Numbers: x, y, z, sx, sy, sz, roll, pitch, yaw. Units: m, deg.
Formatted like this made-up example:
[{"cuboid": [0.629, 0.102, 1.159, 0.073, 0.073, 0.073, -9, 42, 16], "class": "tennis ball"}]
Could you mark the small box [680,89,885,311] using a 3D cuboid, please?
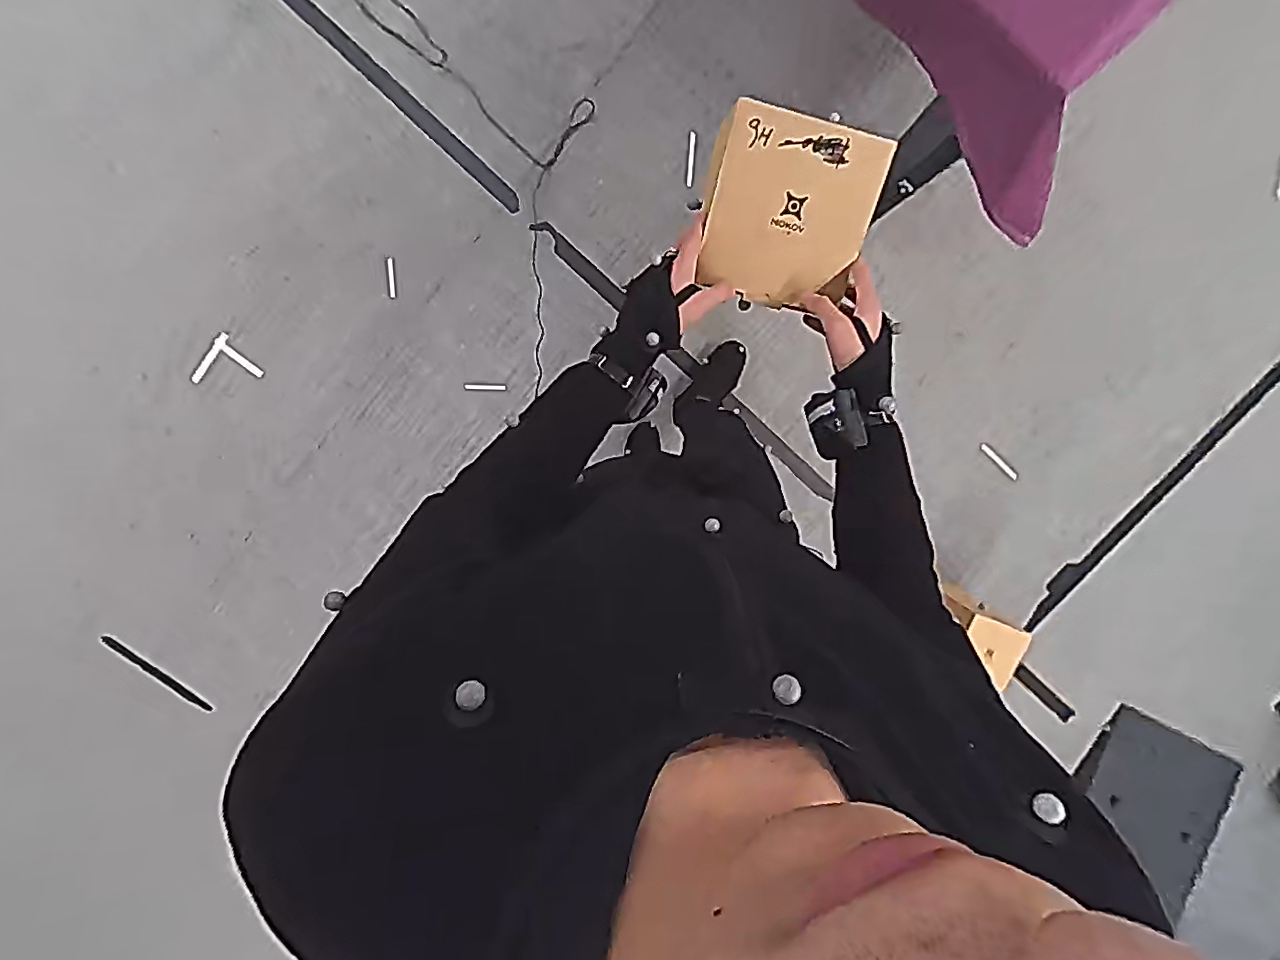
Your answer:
[{"cuboid": [0.146, -0.312, 0.632, 0.168, 0.176, 0.179, 12, 112, -5], "class": "small box"}]
